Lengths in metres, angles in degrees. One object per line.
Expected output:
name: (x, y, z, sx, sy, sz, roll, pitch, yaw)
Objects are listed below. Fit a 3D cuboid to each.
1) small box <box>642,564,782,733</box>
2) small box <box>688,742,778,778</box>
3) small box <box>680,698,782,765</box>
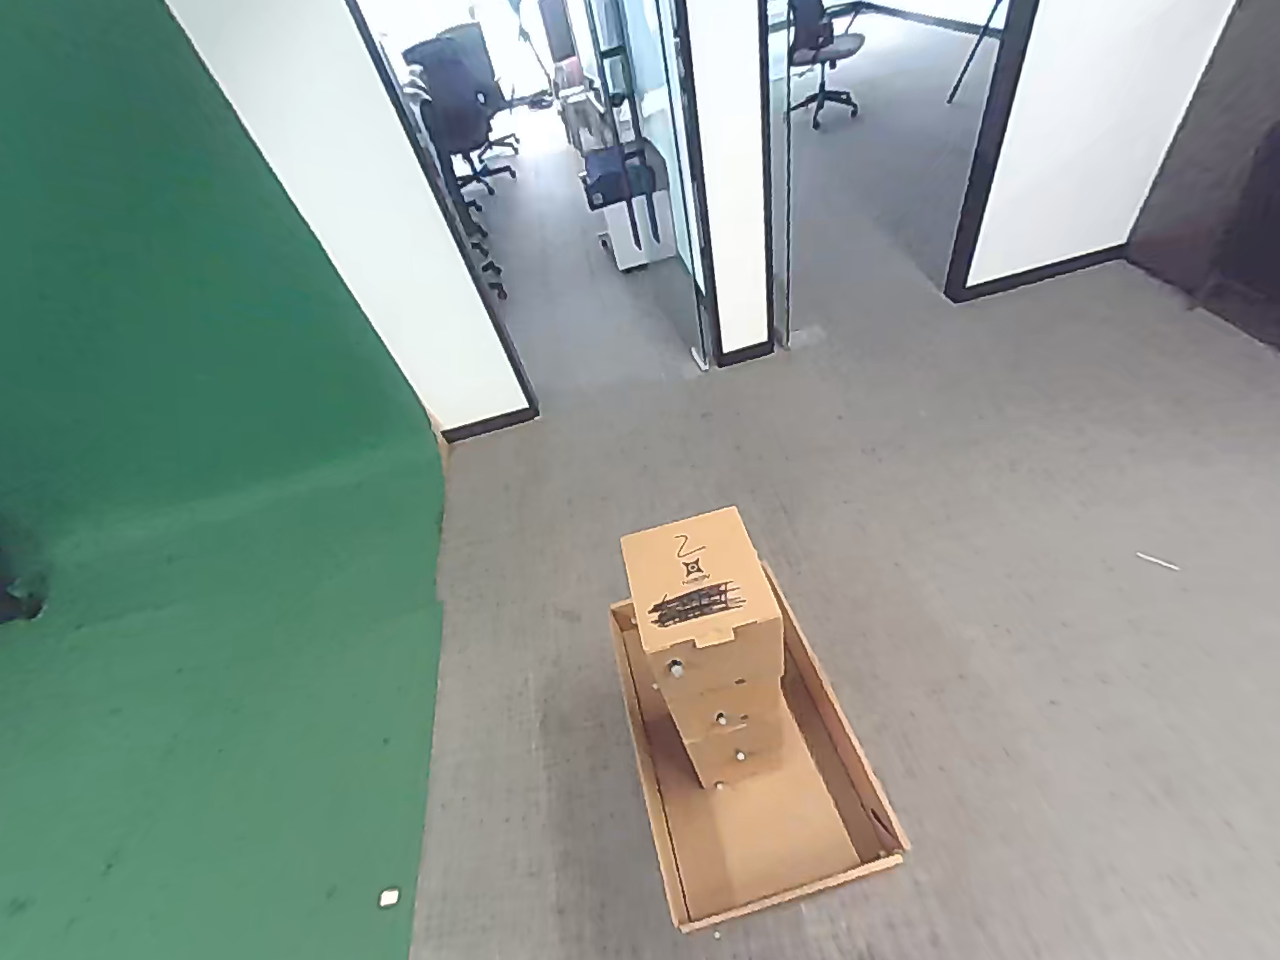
small box: (0.111, 0.266, 0.852, 0.168, 0.176, 0.179, -17, 47, -1)
small box: (0.172, 0.479, 1.091, 0.168, 0.176, 0.179, -16, 45, 0)
small box: (0.144, 0.376, 0.965, 0.168, 0.176, 0.179, -17, 46, 0)
